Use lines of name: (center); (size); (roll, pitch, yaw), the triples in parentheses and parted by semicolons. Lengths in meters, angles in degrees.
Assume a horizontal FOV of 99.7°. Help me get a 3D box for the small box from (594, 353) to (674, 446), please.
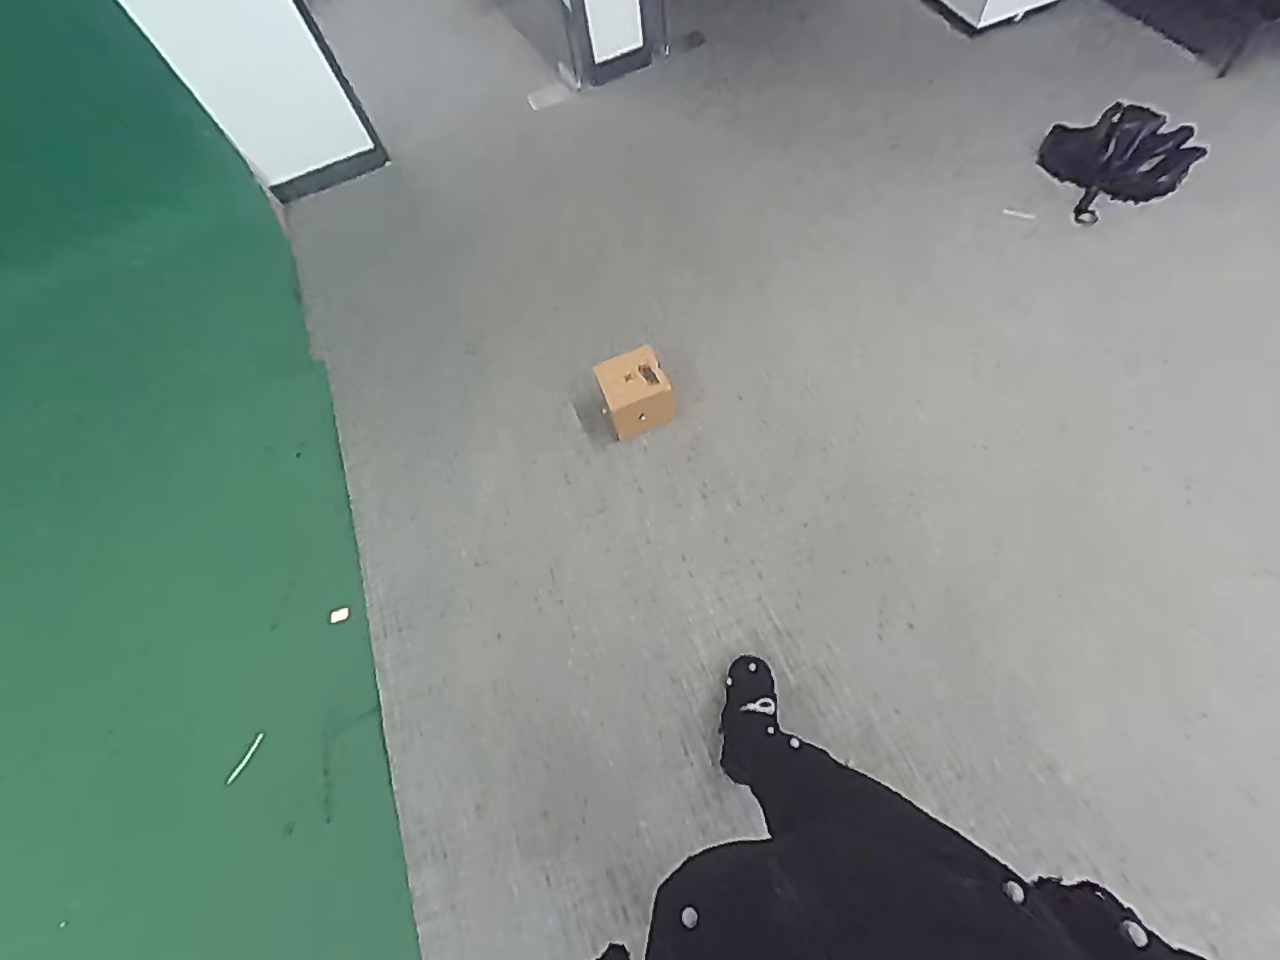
small box: (-0.014, -0.225, 1.547); (0.179, 0.176, 0.168); (-24, 64, -5)
